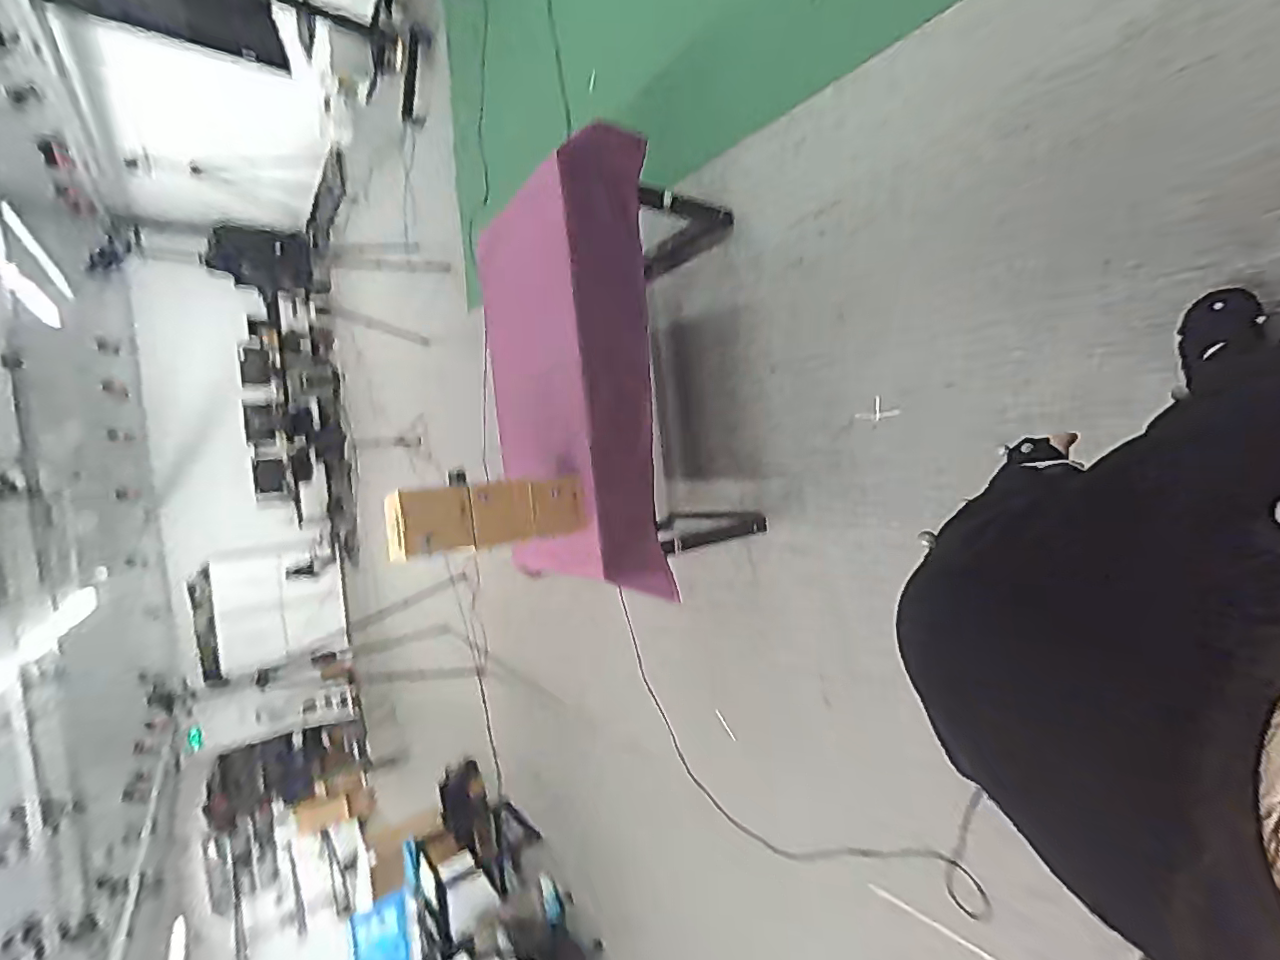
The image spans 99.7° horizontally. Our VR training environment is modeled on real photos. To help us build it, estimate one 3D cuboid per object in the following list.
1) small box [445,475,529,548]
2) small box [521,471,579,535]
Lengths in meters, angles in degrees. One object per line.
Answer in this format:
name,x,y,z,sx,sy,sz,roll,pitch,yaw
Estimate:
small box,-0.414,0.086,1.475,0.168,0.176,0.179,-10,86,52
small box,-0.287,0.066,1.574,0.179,0.176,0.168,-7,89,53
